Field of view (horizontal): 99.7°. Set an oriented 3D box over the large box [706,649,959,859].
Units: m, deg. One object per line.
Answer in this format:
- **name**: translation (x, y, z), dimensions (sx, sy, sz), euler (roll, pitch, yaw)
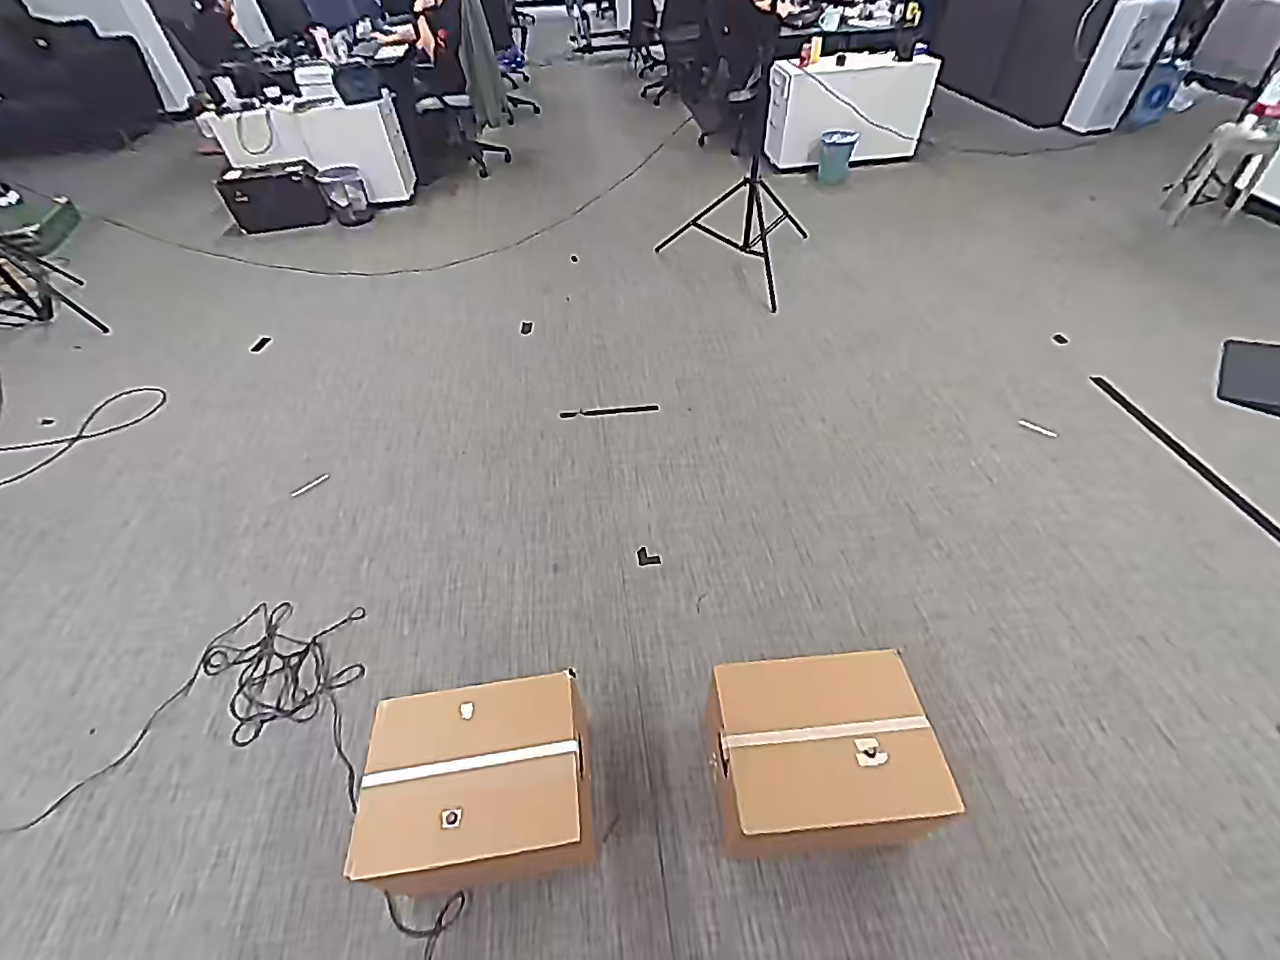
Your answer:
- **large box**: translation (0.374, 0.598, 1.178), dimensions (0.408, 0.320, 0.320), euler (-4, 48, -2)
